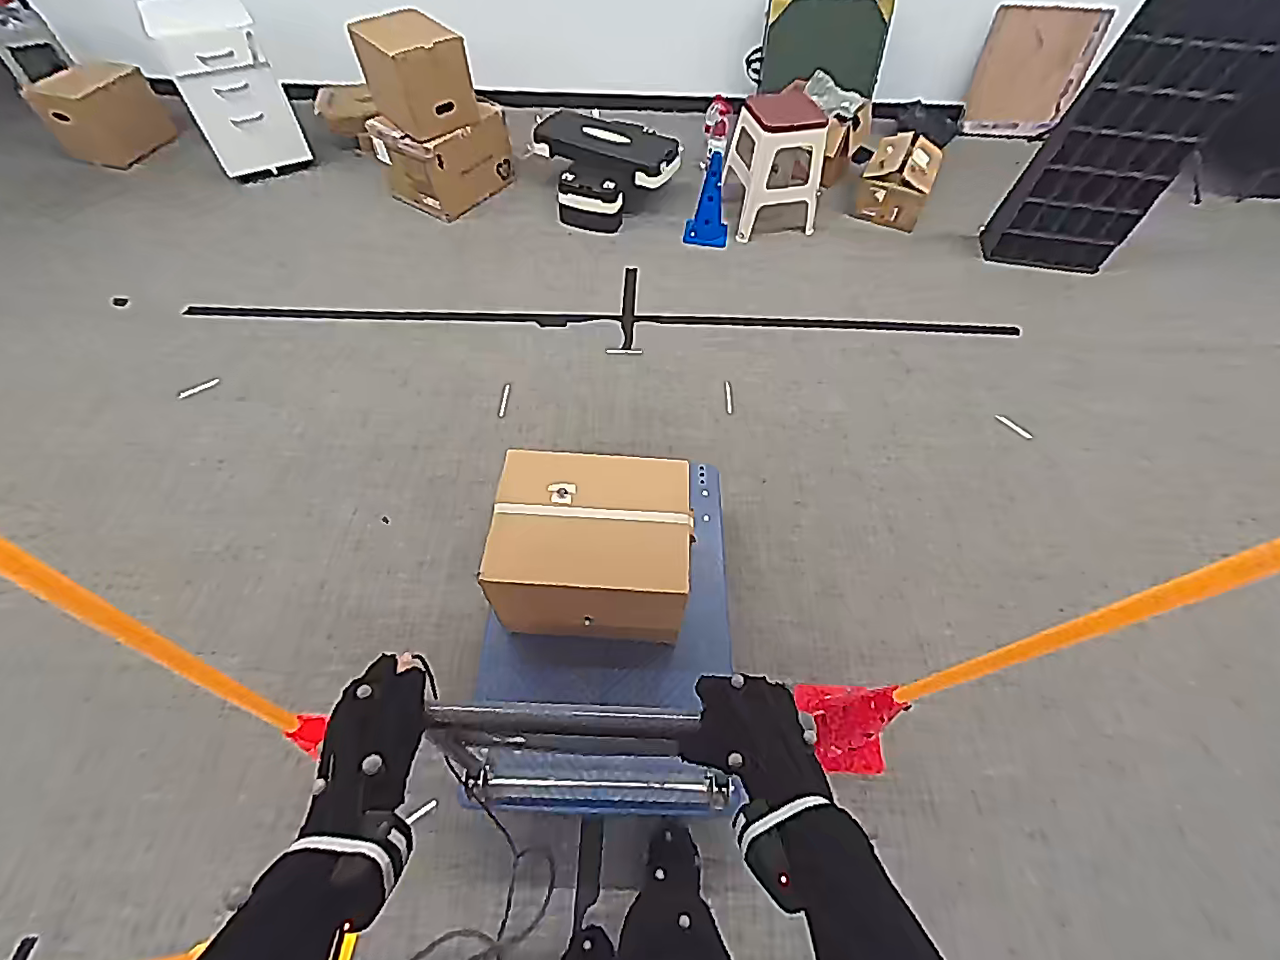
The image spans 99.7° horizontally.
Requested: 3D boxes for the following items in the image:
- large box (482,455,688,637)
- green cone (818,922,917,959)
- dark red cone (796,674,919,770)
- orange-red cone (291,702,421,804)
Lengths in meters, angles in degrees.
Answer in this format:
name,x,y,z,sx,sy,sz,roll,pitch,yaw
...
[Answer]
name,x,y,z,sx,sy,sz,roll,pitch,yaw
large box,-0.101,0.161,1.242,0.408,0.320,0.320,3,56,1
green cone,0.463,0.908,0.921,0.202,0.368,0.200,6,56,1
dark red cone,0.497,0.499,1.181,0.201,0.394,0.202,3,56,-2
orange-red cone,-0.636,0.544,1.144,0.198,0.360,0.199,9,54,3
